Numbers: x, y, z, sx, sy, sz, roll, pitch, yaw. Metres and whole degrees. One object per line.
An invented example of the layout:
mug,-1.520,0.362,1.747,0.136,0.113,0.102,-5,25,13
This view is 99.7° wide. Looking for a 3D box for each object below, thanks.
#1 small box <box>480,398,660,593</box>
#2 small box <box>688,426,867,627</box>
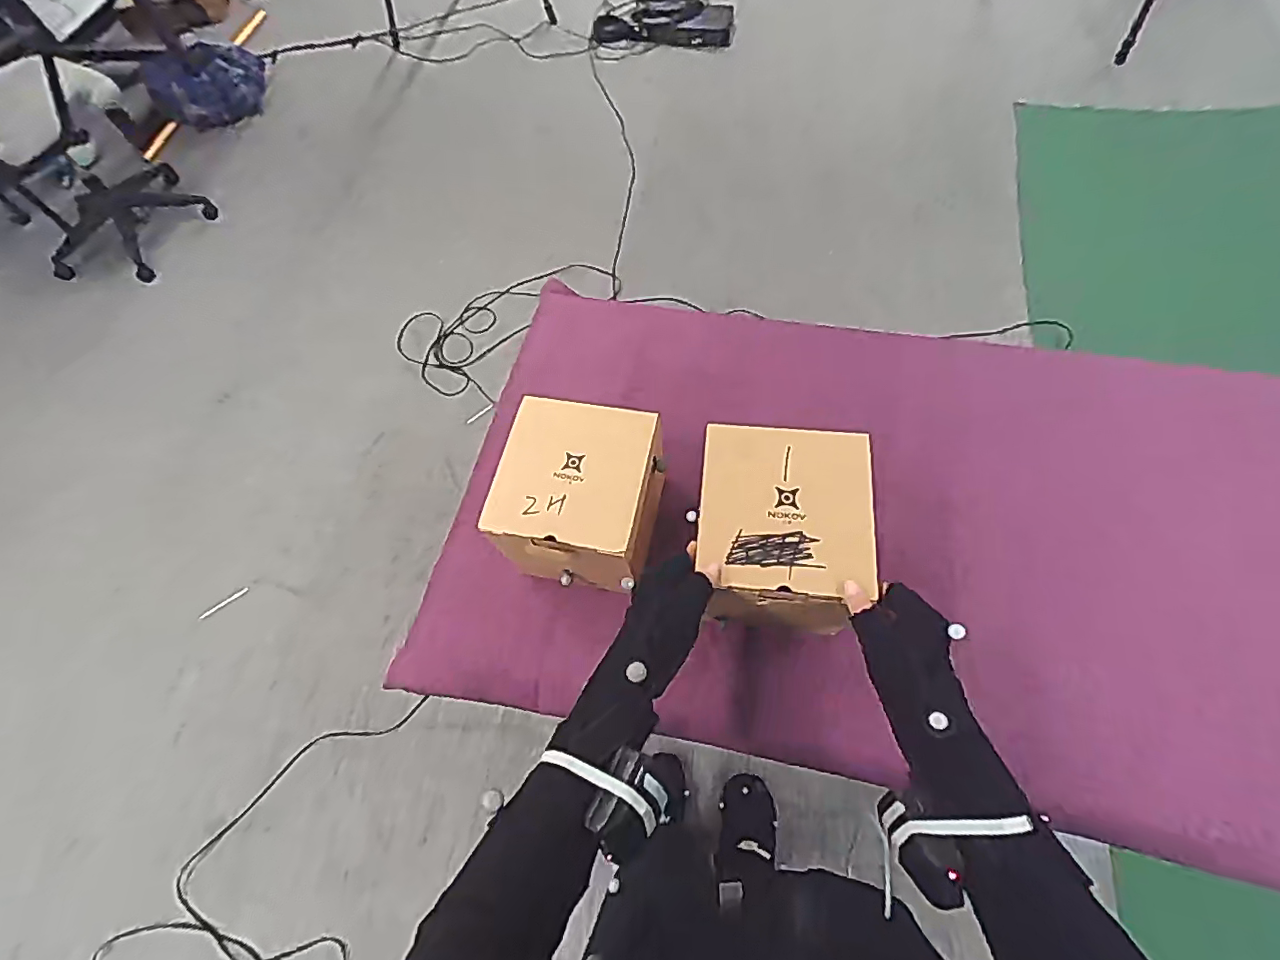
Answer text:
small box,-0.071,0.025,0.674,0.168,0.176,0.179,9,66,10
small box,0.145,0.059,0.604,0.168,0.176,0.179,4,65,8
